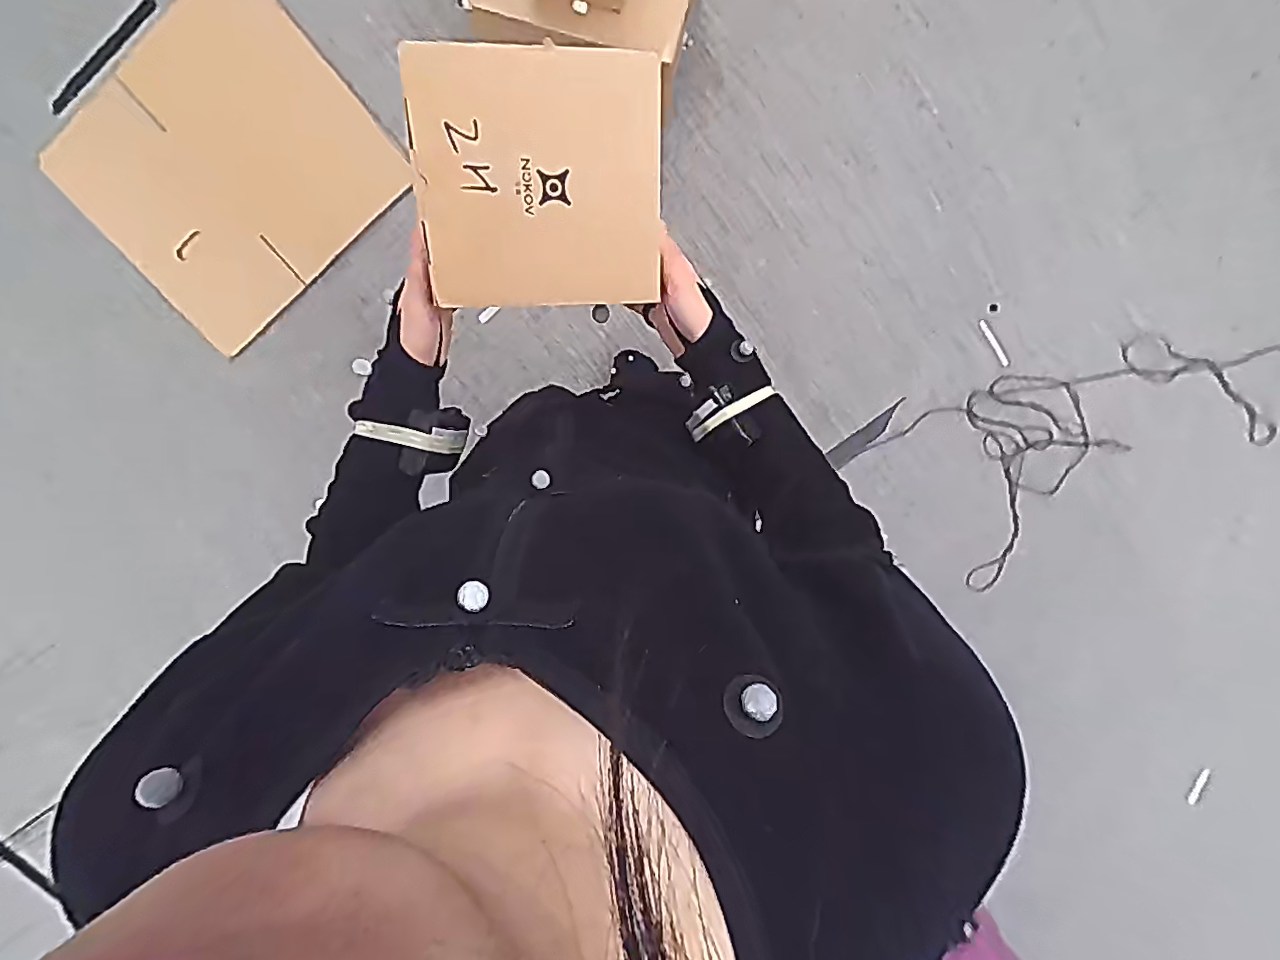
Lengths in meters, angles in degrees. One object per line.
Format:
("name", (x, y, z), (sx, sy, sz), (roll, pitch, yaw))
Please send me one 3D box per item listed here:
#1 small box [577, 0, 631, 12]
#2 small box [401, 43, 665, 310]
("small box", (-0.089, -0.926, 0.891), (0.179, 0.176, 0.168), (11, 103, -4))
("small box", (-0.081, -0.239, 0.460), (0.179, 0.176, 0.168), (-4, 112, -8))
